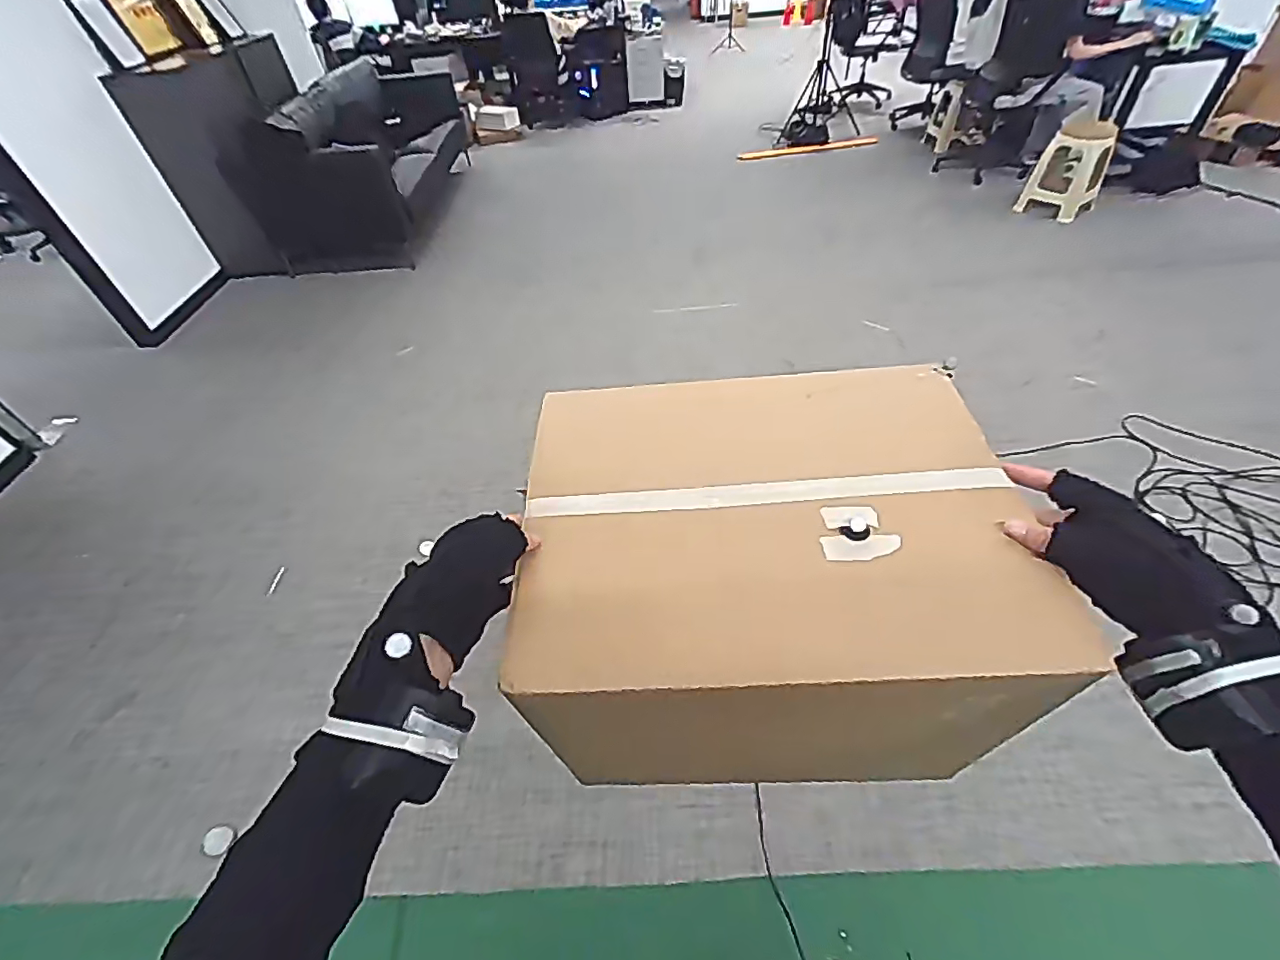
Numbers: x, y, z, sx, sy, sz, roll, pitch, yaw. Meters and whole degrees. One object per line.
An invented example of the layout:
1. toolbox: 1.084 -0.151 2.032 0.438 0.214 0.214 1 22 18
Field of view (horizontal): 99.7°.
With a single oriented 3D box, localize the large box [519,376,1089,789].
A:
1. large box: 0.119 0.121 0.583 0.408 0.320 0.320 -4 50 4
